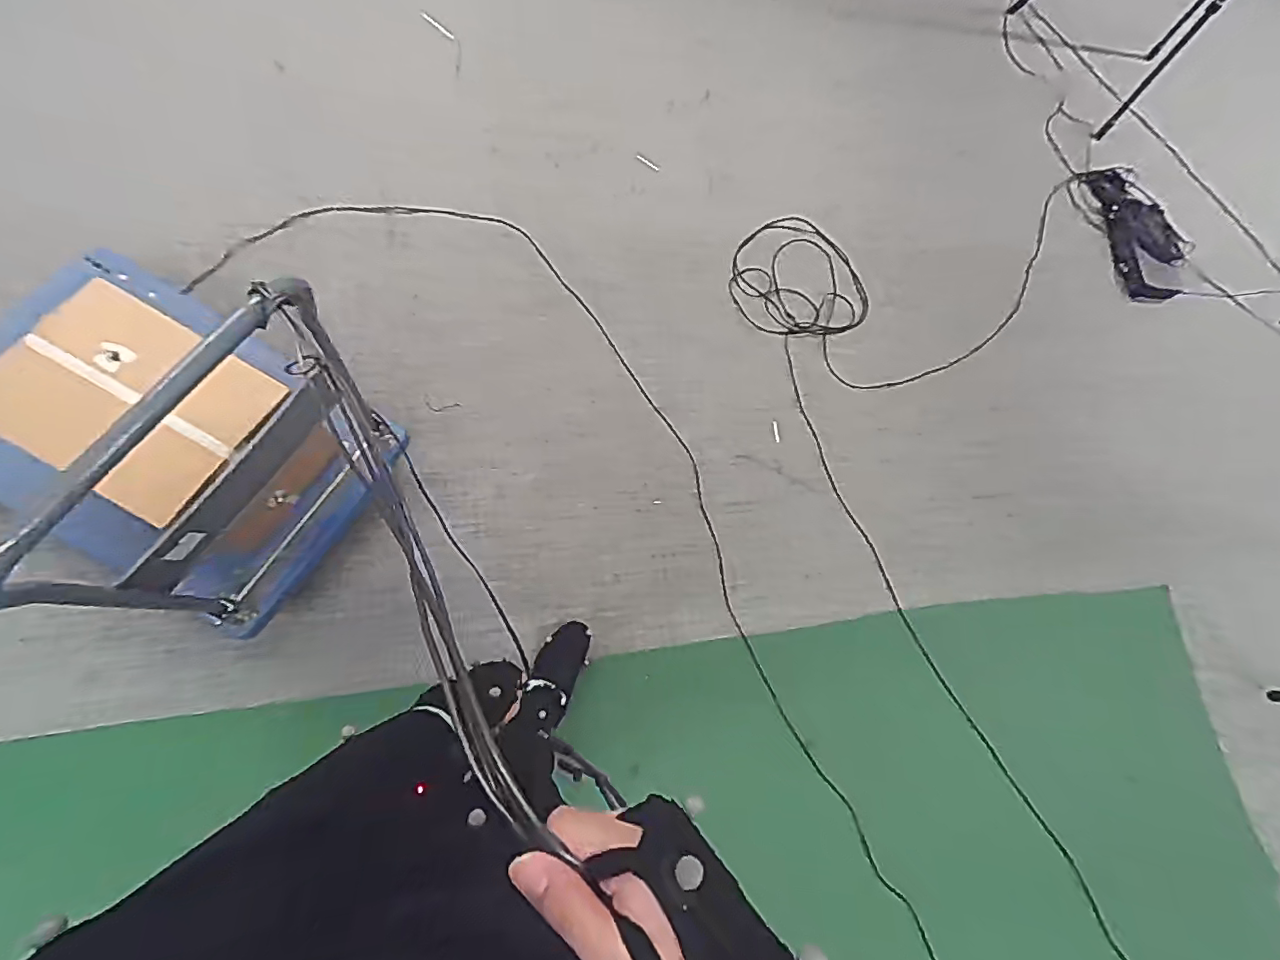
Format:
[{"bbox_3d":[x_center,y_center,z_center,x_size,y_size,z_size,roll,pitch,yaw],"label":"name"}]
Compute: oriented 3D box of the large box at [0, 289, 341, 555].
[{"bbox_3d":[-0.914,-0.091,1.087,0.408,0.320,0.320,30,69,-1],"label":"large box"}]
